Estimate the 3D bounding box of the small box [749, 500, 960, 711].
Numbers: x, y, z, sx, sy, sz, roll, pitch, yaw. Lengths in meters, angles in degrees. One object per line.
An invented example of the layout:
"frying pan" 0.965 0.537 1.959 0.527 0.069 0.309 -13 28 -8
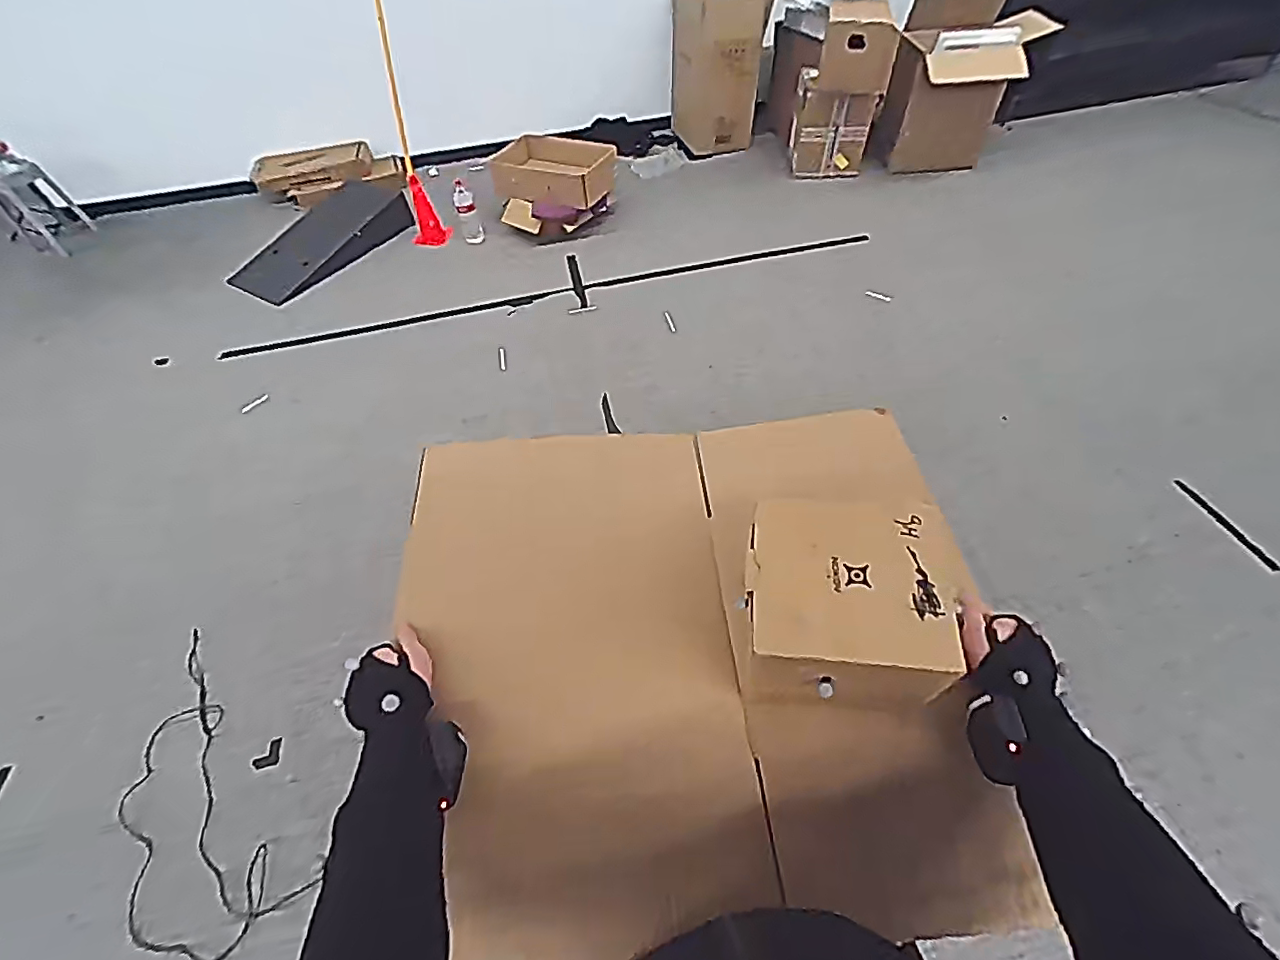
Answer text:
"small box" 0.208 0.137 0.576 0.179 0.176 0.168 1 55 12
